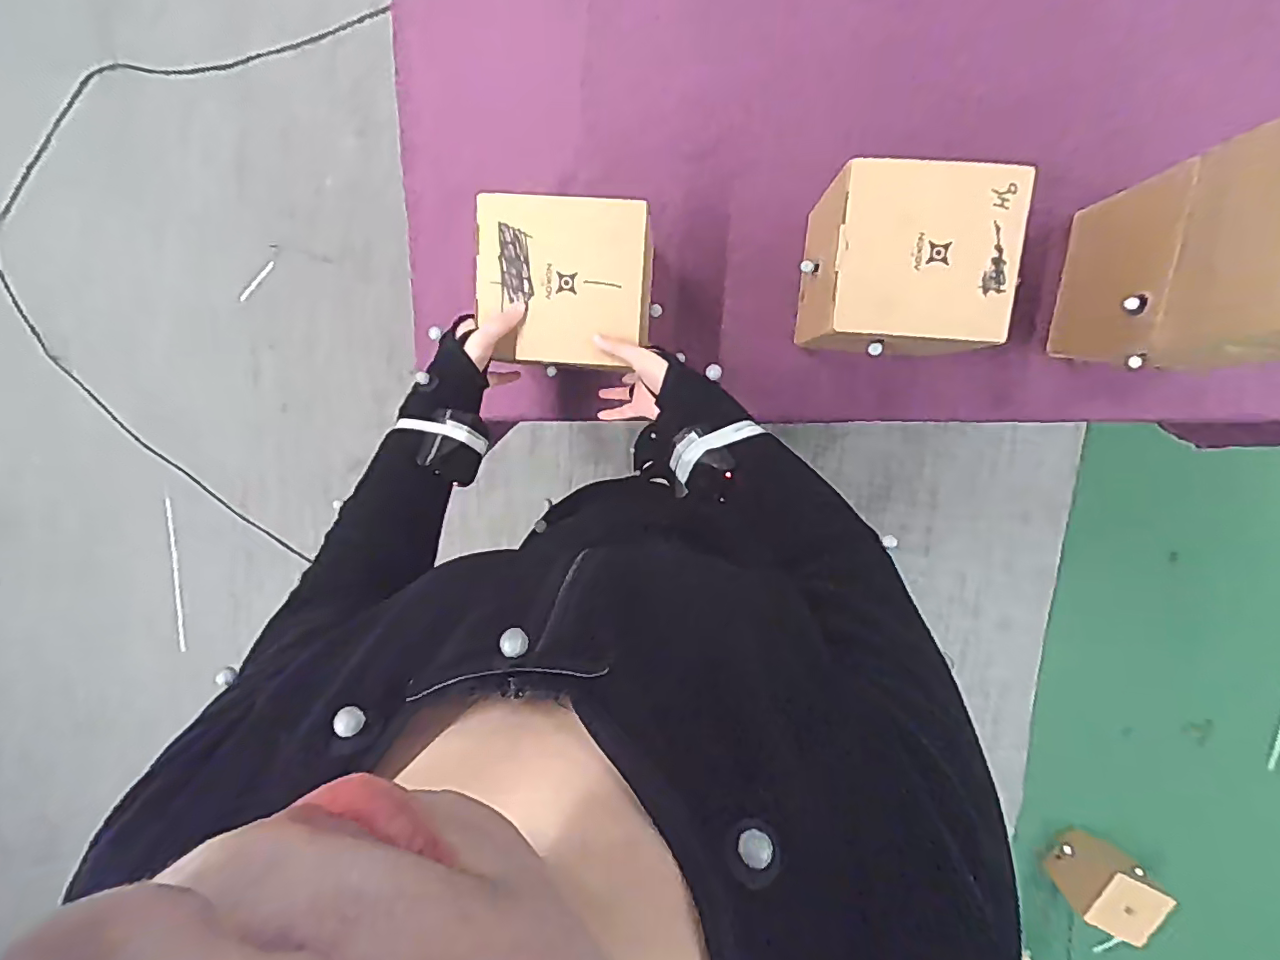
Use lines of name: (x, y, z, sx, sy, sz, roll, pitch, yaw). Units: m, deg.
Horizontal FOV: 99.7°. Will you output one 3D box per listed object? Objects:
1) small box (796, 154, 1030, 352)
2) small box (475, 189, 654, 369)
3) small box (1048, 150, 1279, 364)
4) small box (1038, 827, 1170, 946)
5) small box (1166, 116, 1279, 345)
small box: (0.285, -0.240, 0.611, 0.179, 0.176, 0.168, 6, 99, 3)
small box: (-0.079, -0.222, 0.637, 0.179, 0.176, 0.168, 4, 99, 2)
small box: (0.597, -0.228, 0.594, 0.168, 0.176, 0.179, 6, 100, 3)
small box: (1.269, 1.112, 1.493, 0.179, 0.176, 0.168, 28, 99, -1)
small box: (0.587, -0.202, 0.432, 0.168, 0.176, 0.179, 4, 99, 3)
